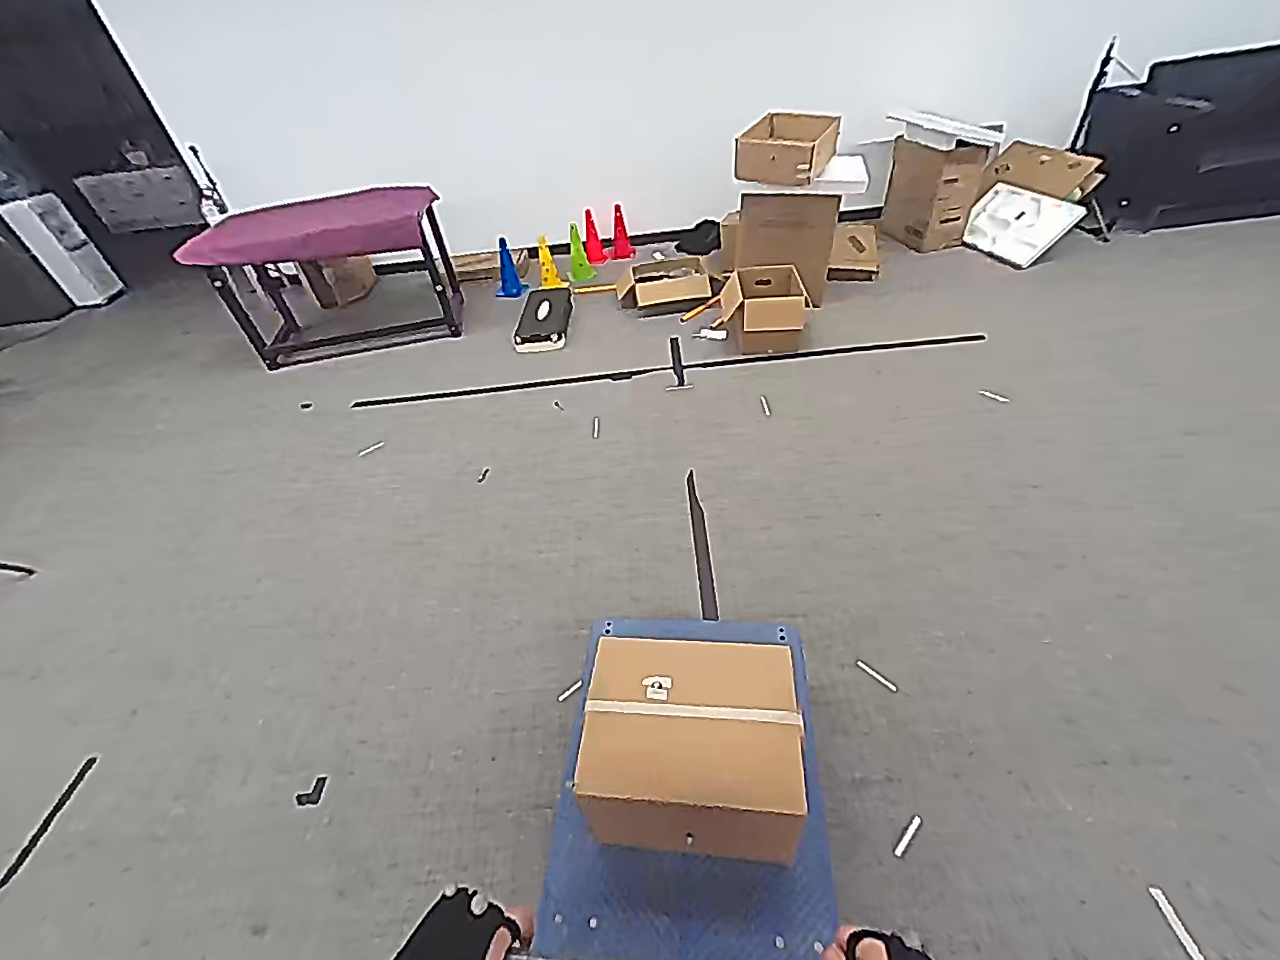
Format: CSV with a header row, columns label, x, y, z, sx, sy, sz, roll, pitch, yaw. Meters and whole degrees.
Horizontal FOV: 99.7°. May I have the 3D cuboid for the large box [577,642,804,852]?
label,x,y,z,sx,sy,sz,roll,pitch,yaw
large box,0.115,0.565,1.151,0.408,0.320,0.320,-1,41,9
